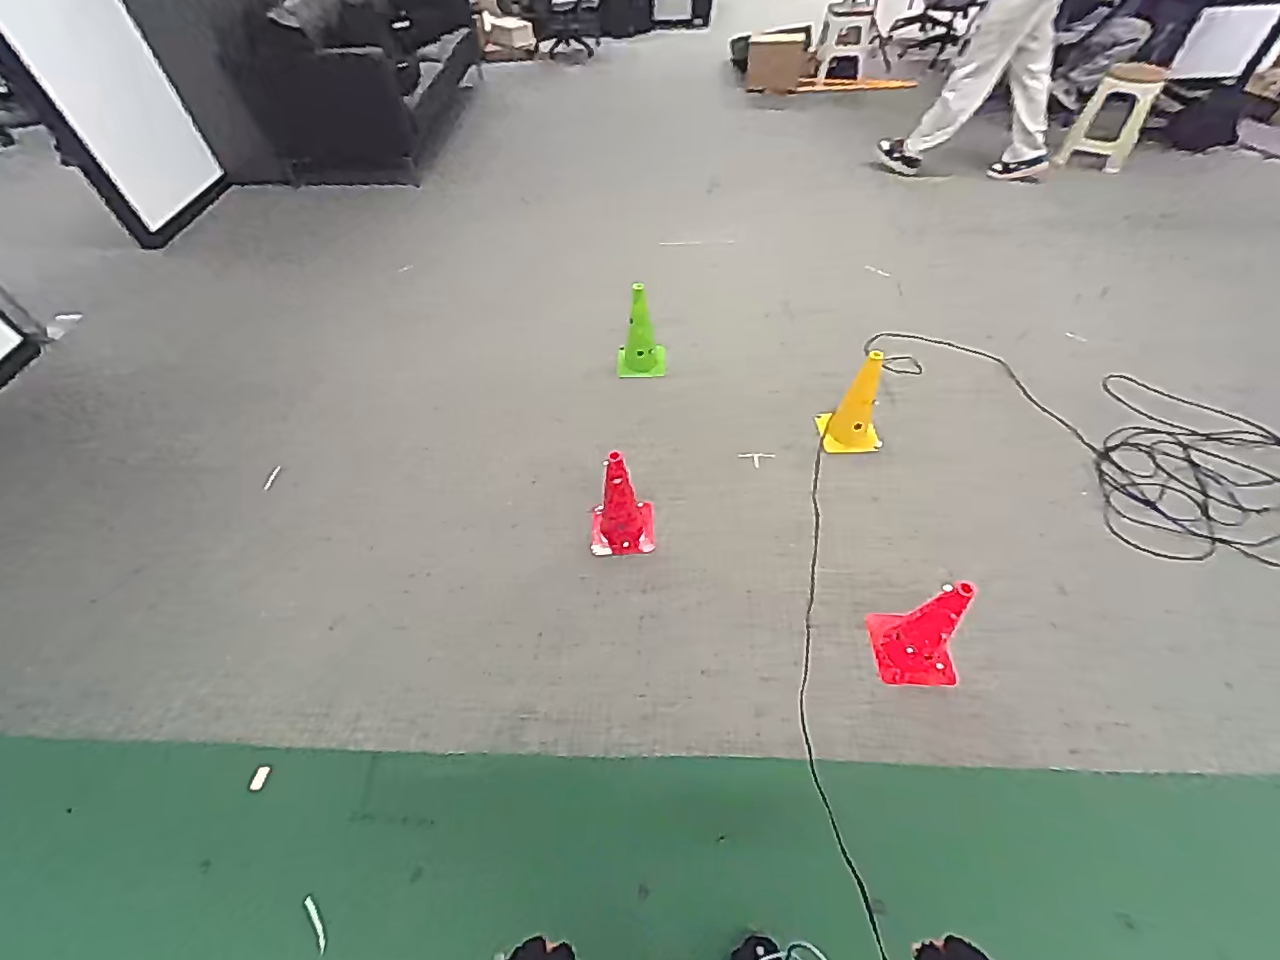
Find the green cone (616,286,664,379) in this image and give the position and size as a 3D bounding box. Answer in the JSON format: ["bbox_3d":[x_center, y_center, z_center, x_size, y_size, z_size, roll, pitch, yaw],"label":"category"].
[{"bbox_3d":[-0.004,-0.601,2.156,0.202,0.368,0.200,-1,51,1],"label":"green cone"}]

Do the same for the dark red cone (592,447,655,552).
[{"bbox_3d":[-0.061,0.042,1.606,0.202,0.394,0.201,-4,52,-1],"label":"dark red cone"}]

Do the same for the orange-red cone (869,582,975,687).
[{"bbox_3d":[0.733,0.353,1.343,0.198,0.360,0.199,1,50,2],"label":"orange-red cone"}]
